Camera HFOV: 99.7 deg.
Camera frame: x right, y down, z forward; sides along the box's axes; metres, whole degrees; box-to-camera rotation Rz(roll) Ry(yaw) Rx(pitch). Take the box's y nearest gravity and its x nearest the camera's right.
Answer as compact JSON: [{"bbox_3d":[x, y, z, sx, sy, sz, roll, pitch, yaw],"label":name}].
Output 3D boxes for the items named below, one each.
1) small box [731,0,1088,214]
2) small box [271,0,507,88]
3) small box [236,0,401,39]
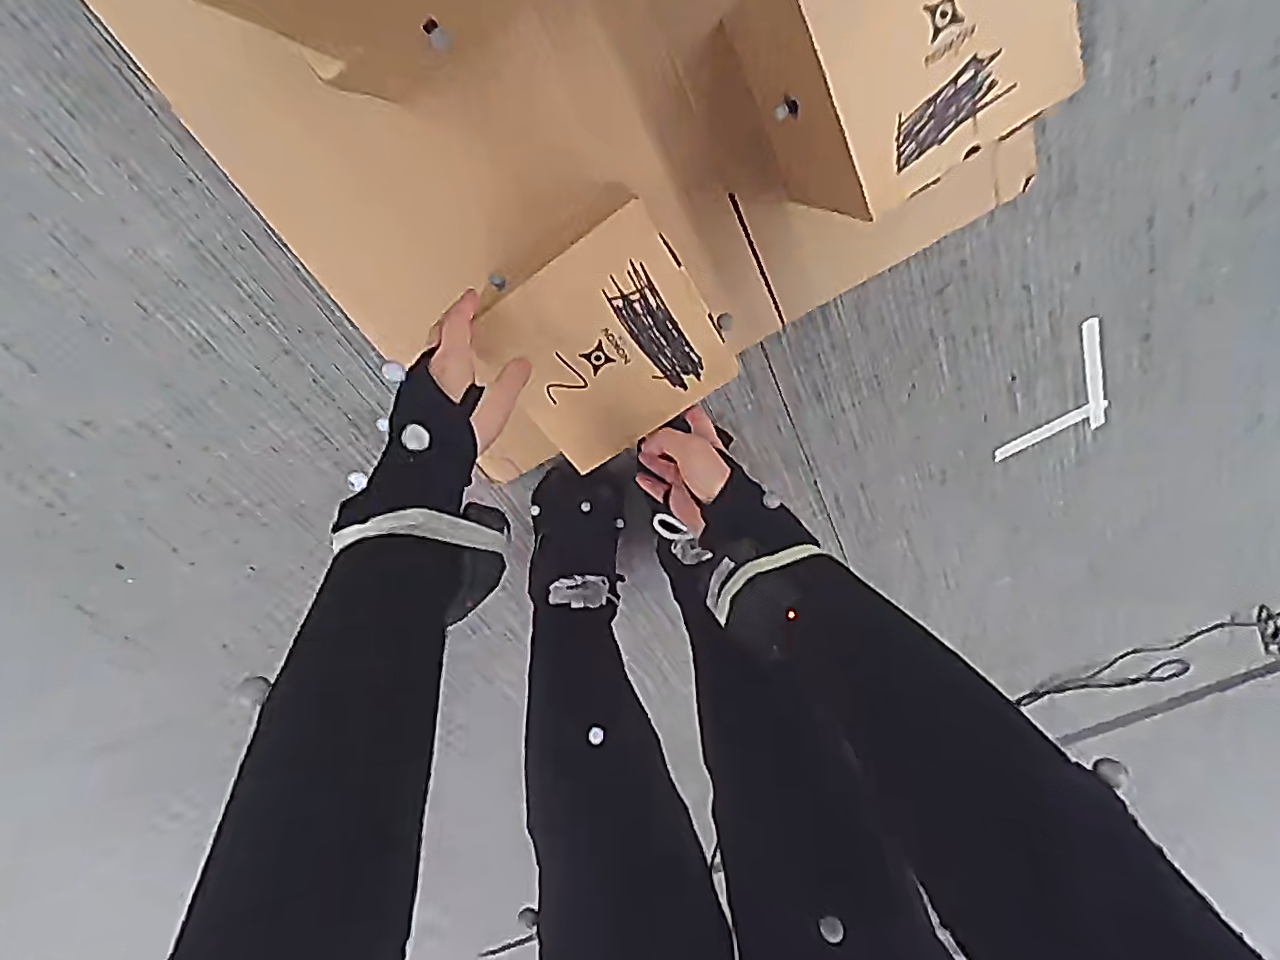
[{"bbox_3d":[0.194,-0.344,0.423,0.168,0.176,0.179,-31,120,11],"label":"small box"},{"bbox_3d":[-0.175,-0.389,0.345,0.179,0.176,0.168,-31,120,12],"label":"small box"},{"bbox_3d":[-0.136,-0.315,0.201,0.179,0.176,0.168,-28,120,10],"label":"small box"}]
